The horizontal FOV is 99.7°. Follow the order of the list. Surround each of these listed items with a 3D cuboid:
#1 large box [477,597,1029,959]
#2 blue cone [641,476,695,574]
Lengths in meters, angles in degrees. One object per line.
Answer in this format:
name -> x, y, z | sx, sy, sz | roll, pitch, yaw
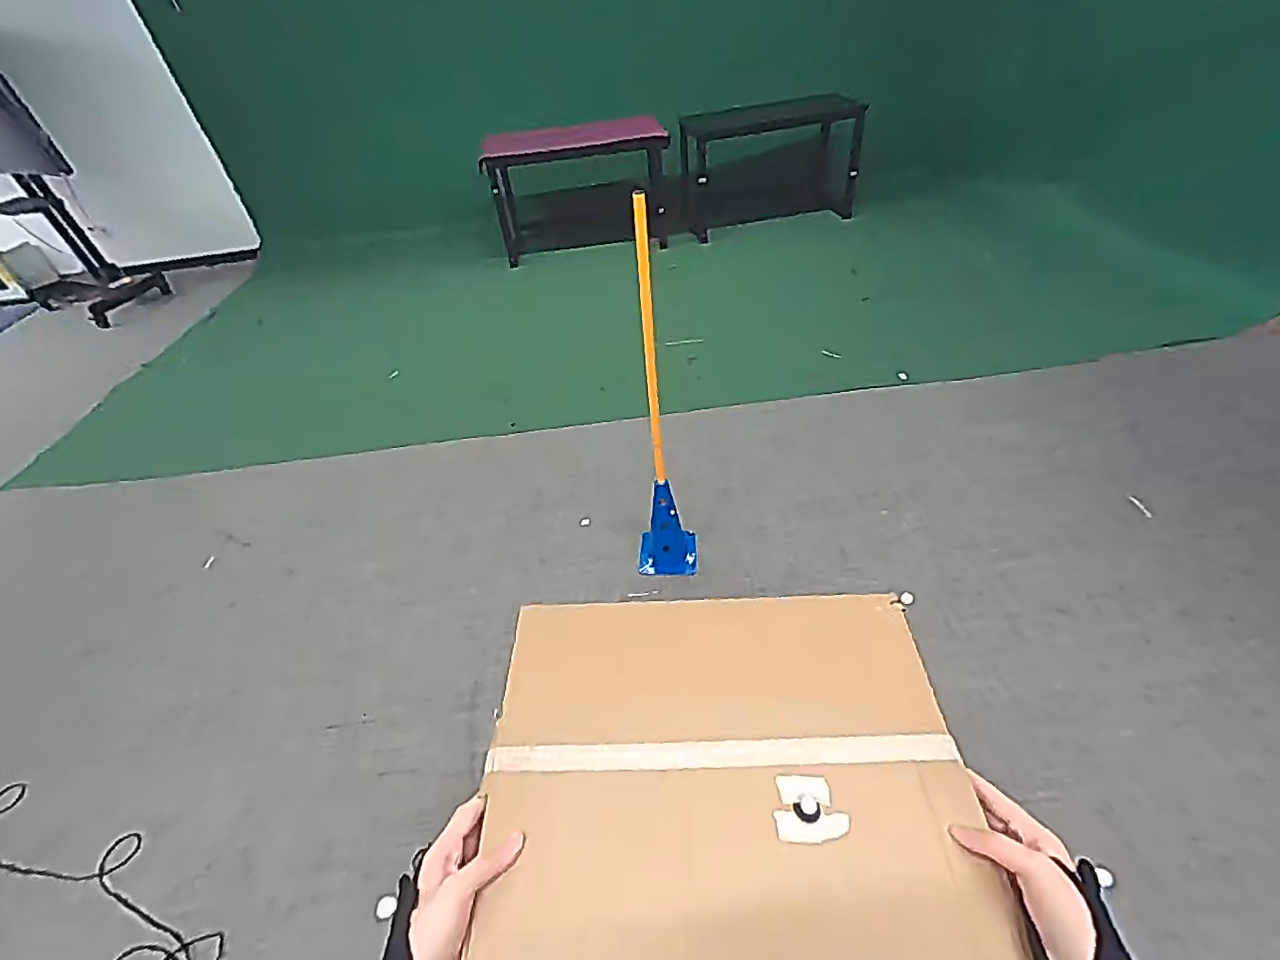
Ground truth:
large box -> 0.081, 0.349, 0.590 | 0.408, 0.320, 0.320 | -2, 46, 2
blue cone -> 0.086, 0.143, 1.843 | 0.193, 0.380, 0.192 | 0, 42, 7
